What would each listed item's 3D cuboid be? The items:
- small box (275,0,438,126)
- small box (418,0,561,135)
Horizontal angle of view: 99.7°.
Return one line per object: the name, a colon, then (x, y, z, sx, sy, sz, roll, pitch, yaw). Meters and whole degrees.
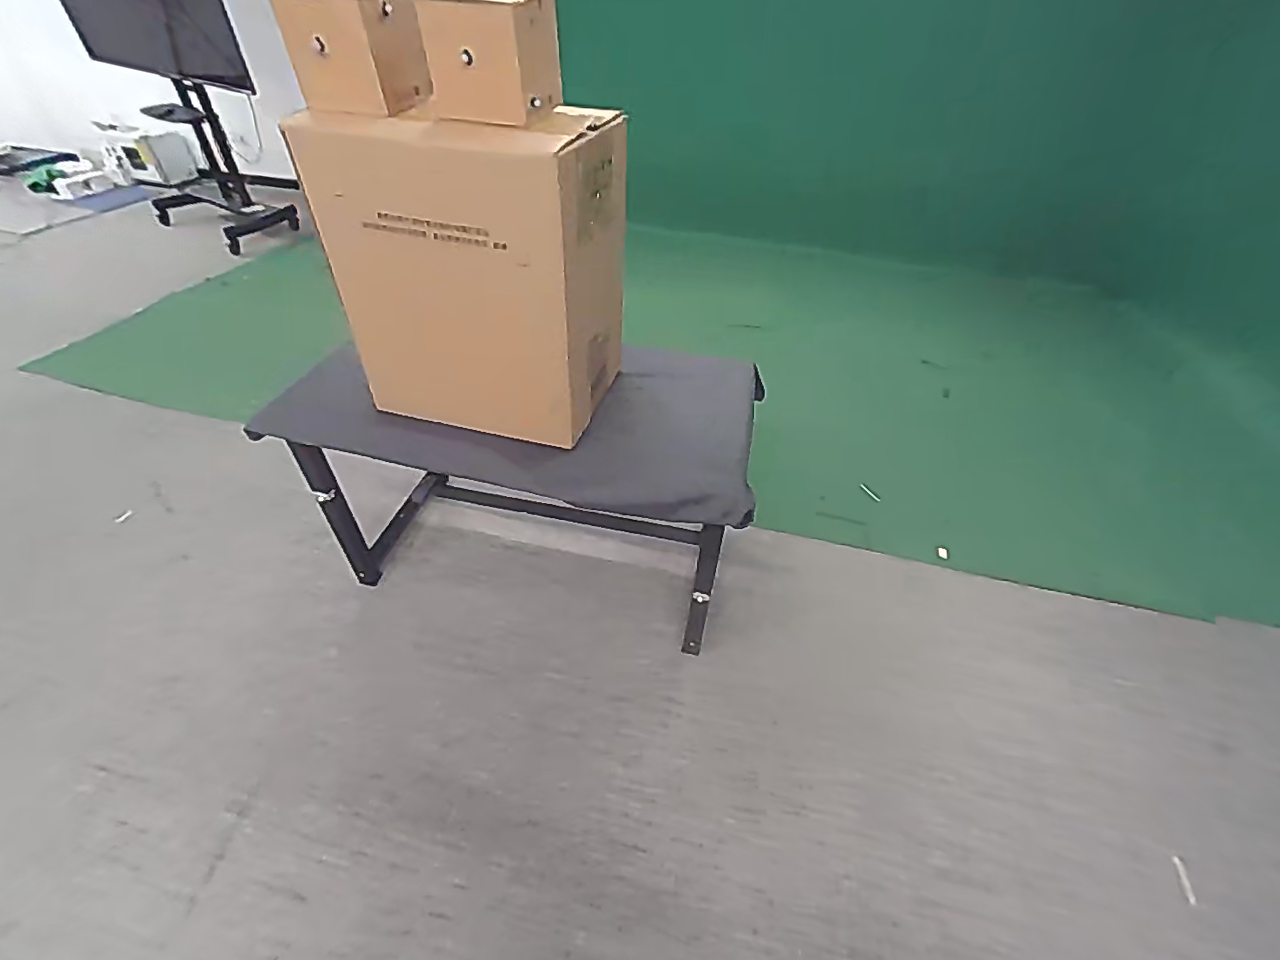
small box: (-0.506, -0.768, 0.992, 0.179, 0.176, 0.168, 12, 48, 10)
small box: (-0.252, -0.733, 0.961, 0.179, 0.176, 0.168, 12, 48, 11)
